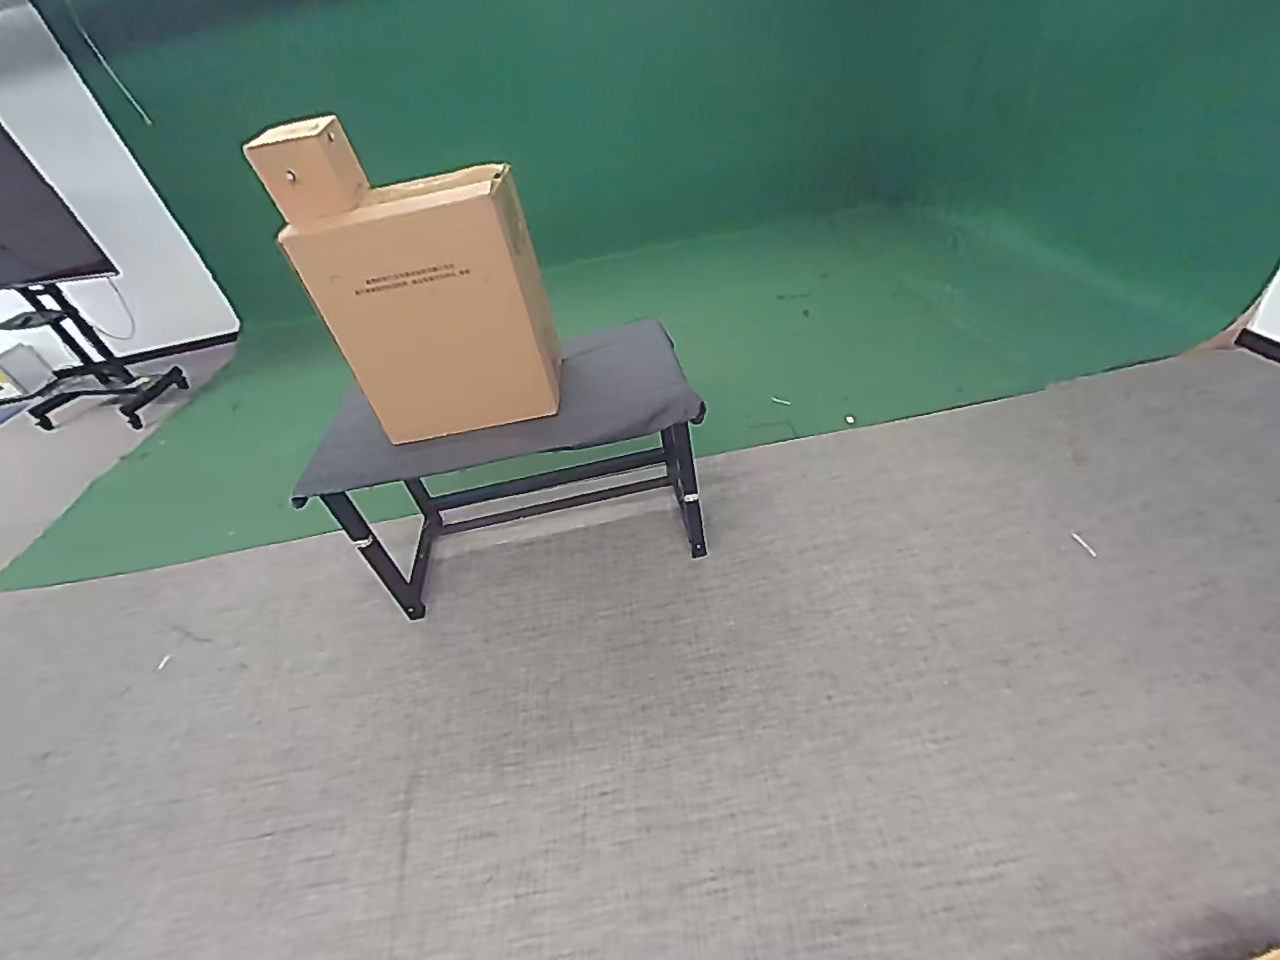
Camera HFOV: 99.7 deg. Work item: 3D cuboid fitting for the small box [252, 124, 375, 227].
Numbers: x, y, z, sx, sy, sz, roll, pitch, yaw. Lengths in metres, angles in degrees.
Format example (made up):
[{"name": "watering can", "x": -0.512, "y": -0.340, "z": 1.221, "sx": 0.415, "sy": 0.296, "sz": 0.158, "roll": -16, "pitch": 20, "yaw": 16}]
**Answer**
[{"name": "small box", "x": -0.798, "y": -0.751, "z": 1.342, "sx": 0.179, "sy": 0.176, "sz": 0.168, "roll": -11, "pitch": 47, "yaw": 3}]
